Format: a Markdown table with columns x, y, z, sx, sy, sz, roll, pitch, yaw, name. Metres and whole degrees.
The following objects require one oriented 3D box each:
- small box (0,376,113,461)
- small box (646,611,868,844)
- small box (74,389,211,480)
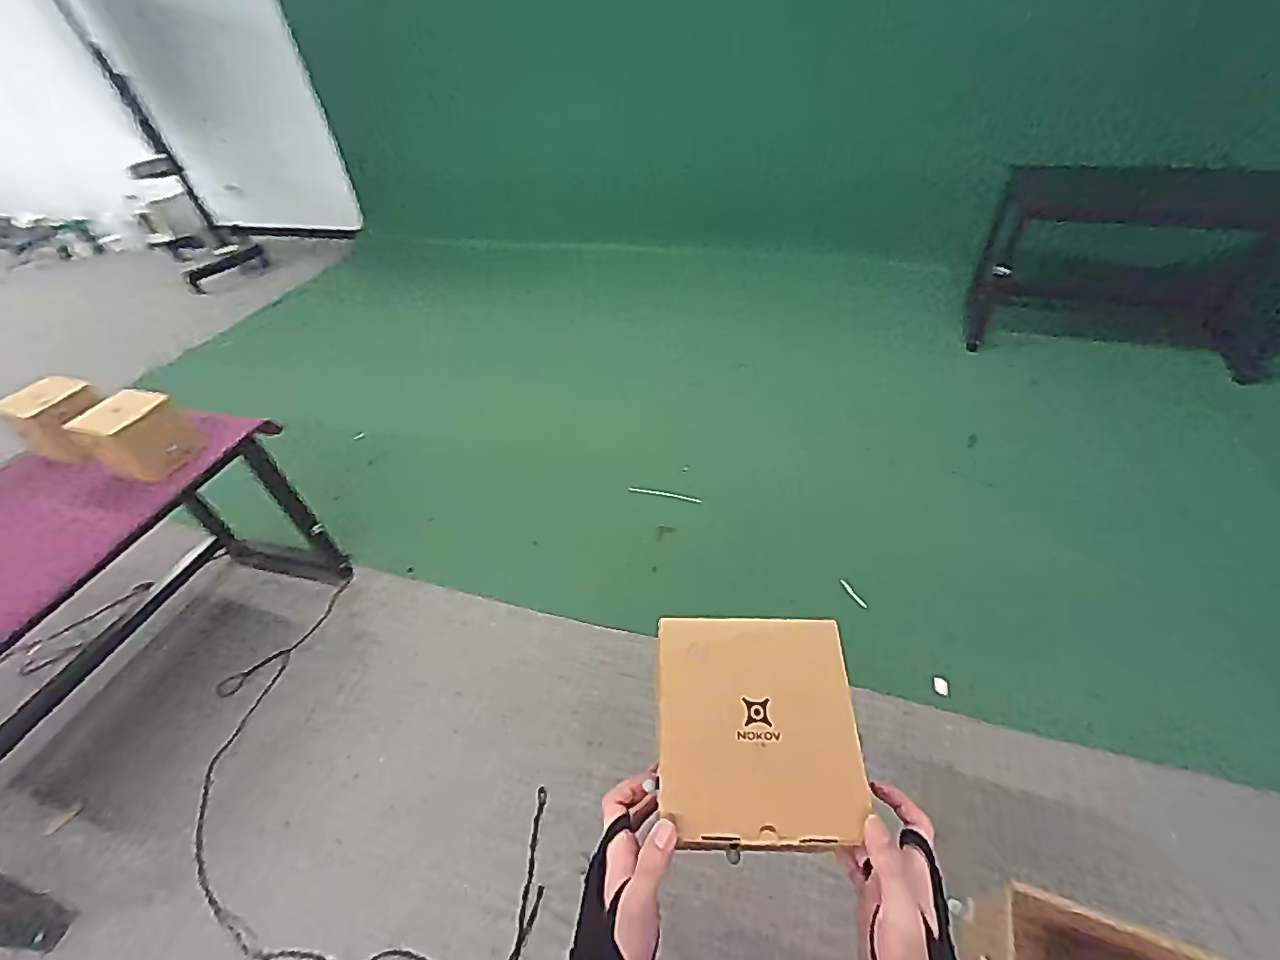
| x | y | z | sx | sy | sz | roll | pitch | yaw | name |
| --- | --- | --- | --- | --- | --- | --- | --- | --- | --- |
| -1.624 | -0.174 | 1.542 | 0.179 | 0.176 | 0.168 | 11 | 47 | 17 | small box |
| 0.090 | 0.240 | 0.517 | 0.168 | 0.176 | 0.179 | 1 | 56 | 0 | small box |
| -1.324 | -0.121 | 1.452 | 0.179 | 0.176 | 0.168 | 11 | 47 | 16 | small box |
